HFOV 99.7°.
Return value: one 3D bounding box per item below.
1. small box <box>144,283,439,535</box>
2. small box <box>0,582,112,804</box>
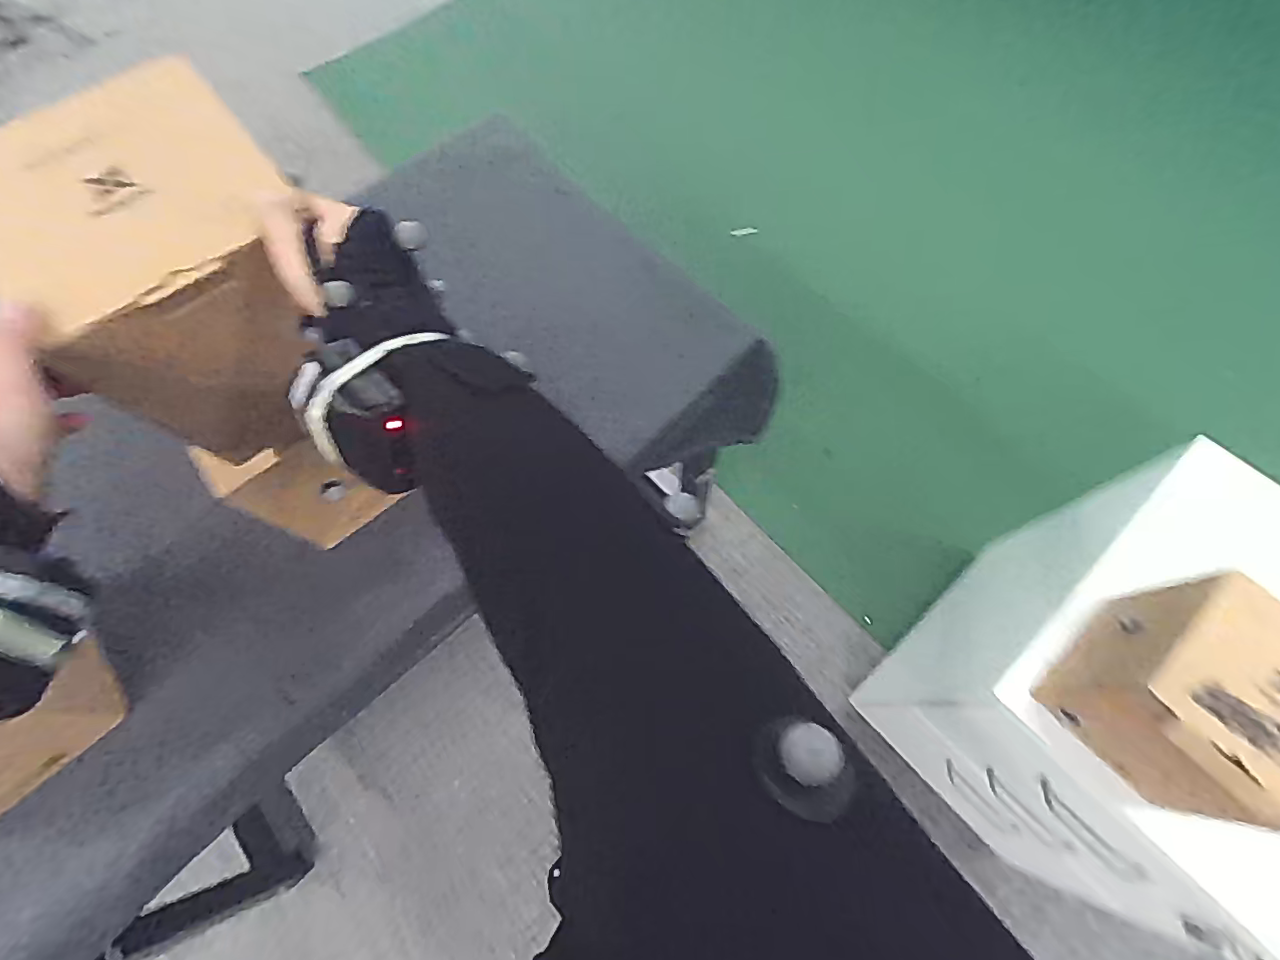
[{"bbox_3d":[-0.347,-0.061,0.573,0.168,0.176,0.179,-39,71,-14],"label":"small box"},{"bbox_3d":[-0.636,0.193,0.470,0.168,0.176,0.179,-41,71,-15],"label":"small box"}]
